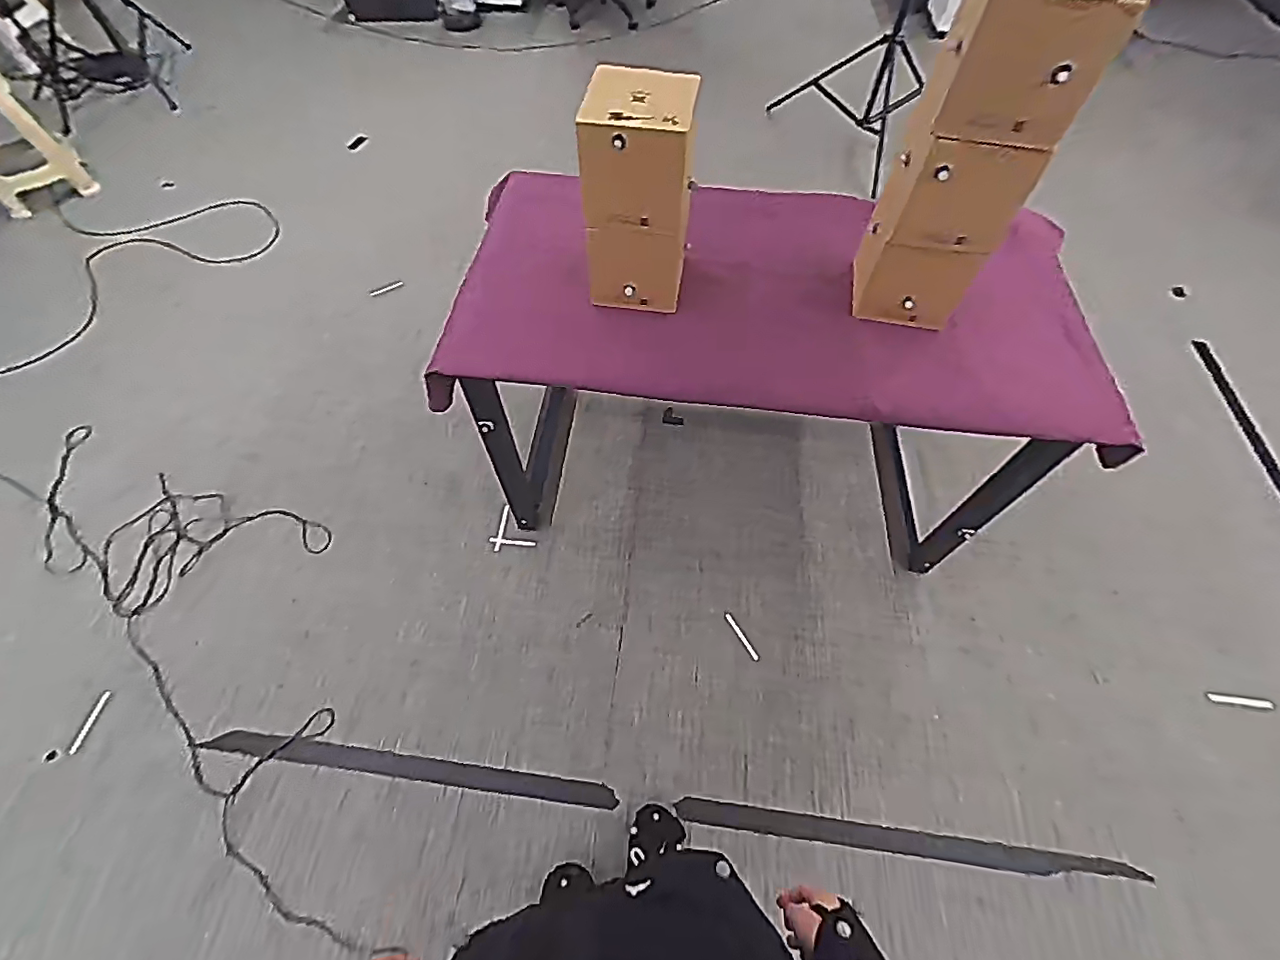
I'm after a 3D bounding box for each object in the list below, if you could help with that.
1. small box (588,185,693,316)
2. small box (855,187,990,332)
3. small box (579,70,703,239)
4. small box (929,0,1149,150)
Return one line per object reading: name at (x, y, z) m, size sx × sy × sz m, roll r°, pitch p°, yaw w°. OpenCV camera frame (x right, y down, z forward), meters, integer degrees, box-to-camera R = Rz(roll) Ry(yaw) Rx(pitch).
small box at (0.003, -0.438, 1.016) m, size 0.168 × 0.176 × 0.179 m, roll 7°, pitch 60°, yaw 4°
small box at (0.509, -0.406, 1.001) m, size 0.168 × 0.176 × 0.179 m, roll 10°, pitch 59°, yaw 7°
small box at (0.003, -0.523, 0.875) m, size 0.168 × 0.176 × 0.179 m, roll 8°, pitch 59°, yaw 5°
small box at (0.507, -0.571, 0.719) m, size 0.168 × 0.176 × 0.179 m, roll 13°, pitch 58°, yaw 6°
